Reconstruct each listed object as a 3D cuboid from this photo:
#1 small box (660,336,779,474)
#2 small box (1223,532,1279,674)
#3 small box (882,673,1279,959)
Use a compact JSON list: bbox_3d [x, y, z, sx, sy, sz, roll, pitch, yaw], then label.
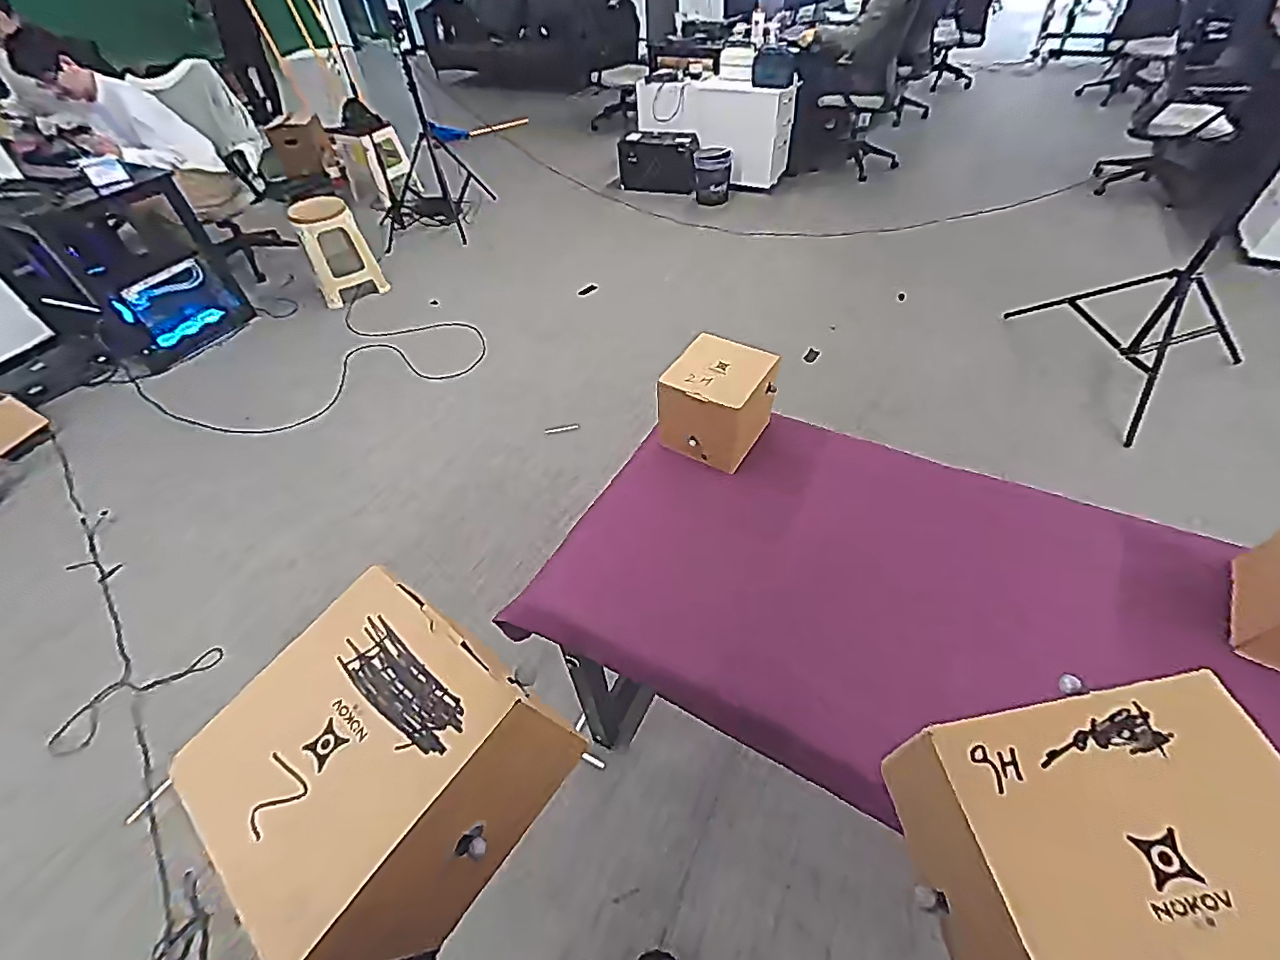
[{"bbox_3d":[0.150,-0.145,1.055,0.168,0.176,0.179,24,55,23],"label":"small box"},{"bbox_3d":[0.944,0.168,0.724,0.168,0.176,0.179,24,58,24],"label":"small box"},{"bbox_3d":[0.277,0.242,0.338,0.168,0.176,0.179,-13,55,3],"label":"small box"}]
